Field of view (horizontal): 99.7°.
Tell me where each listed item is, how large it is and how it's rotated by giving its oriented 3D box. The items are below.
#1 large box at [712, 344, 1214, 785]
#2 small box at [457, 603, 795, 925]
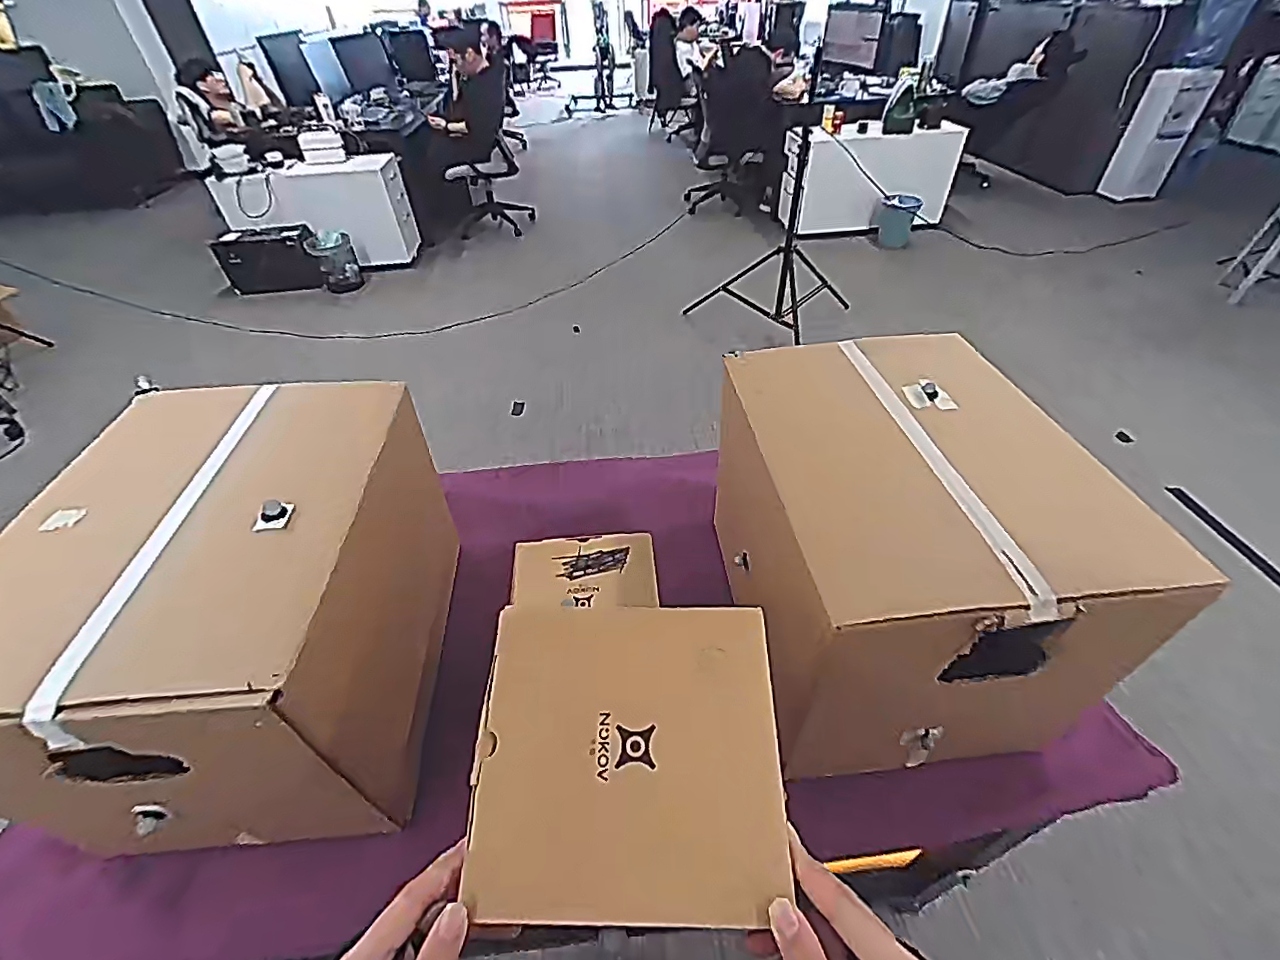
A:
[{"bbox_3d":[0.279,0.081,0.650,0.320,0.320,0.408,-6,41,-3],"label":"large box"},{"bbox_3d":[-0.003,0.193,0.382,0.179,0.176,0.168,-1,58,3],"label":"small box"}]
